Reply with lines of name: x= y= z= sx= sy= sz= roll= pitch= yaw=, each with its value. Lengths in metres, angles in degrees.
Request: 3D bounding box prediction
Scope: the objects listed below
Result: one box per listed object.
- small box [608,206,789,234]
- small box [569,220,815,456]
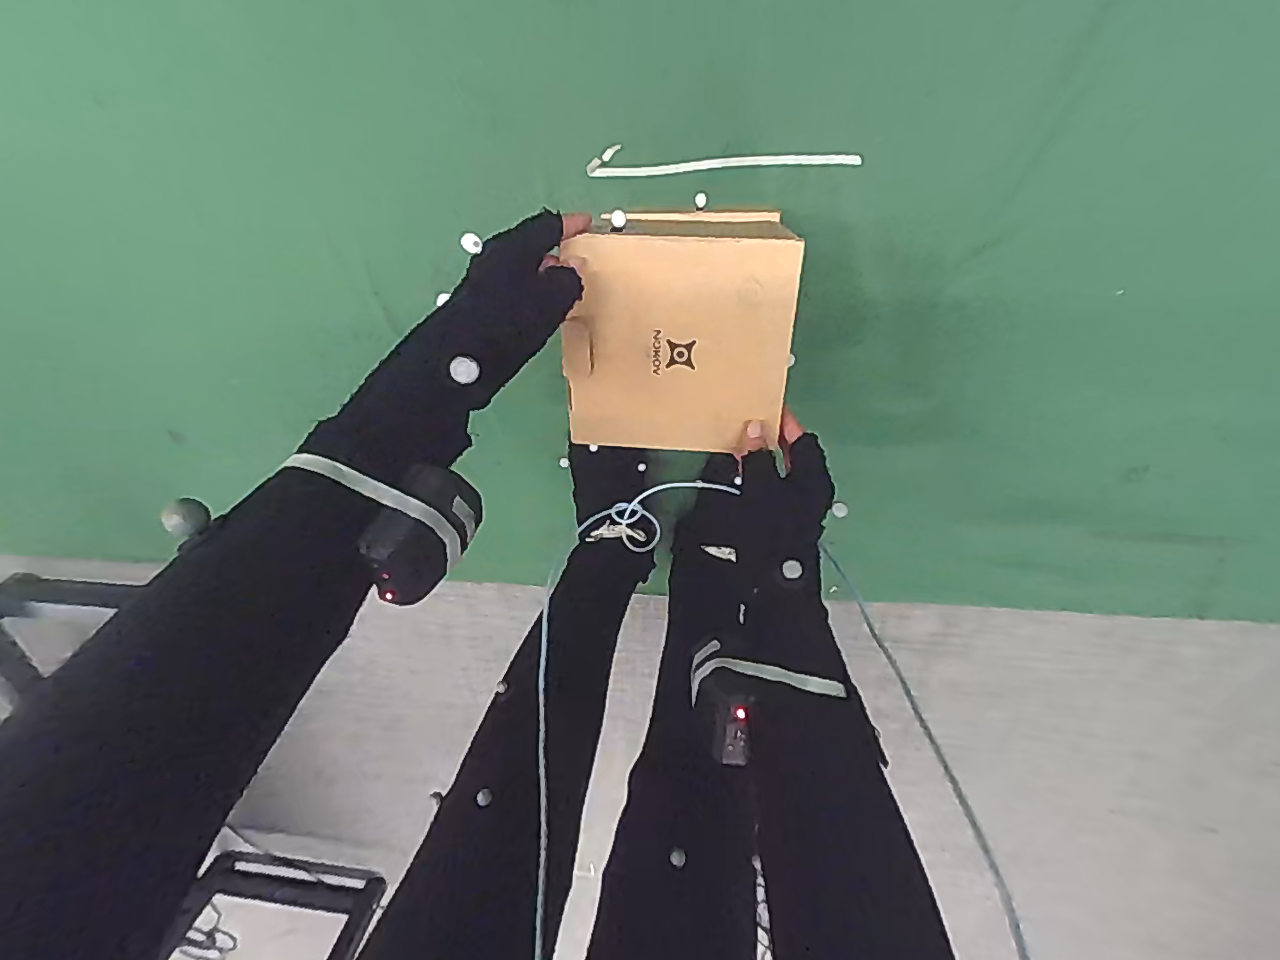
small box: x=0.063 y=-0.221 z=0.623 sx=0.179 sy=0.176 sz=0.168 roll=4 pitch=119 yaw=7
small box: x=0.043 y=-0.136 z=0.485 sx=0.179 sy=0.176 sz=0.168 roll=4 pitch=120 yaw=6
